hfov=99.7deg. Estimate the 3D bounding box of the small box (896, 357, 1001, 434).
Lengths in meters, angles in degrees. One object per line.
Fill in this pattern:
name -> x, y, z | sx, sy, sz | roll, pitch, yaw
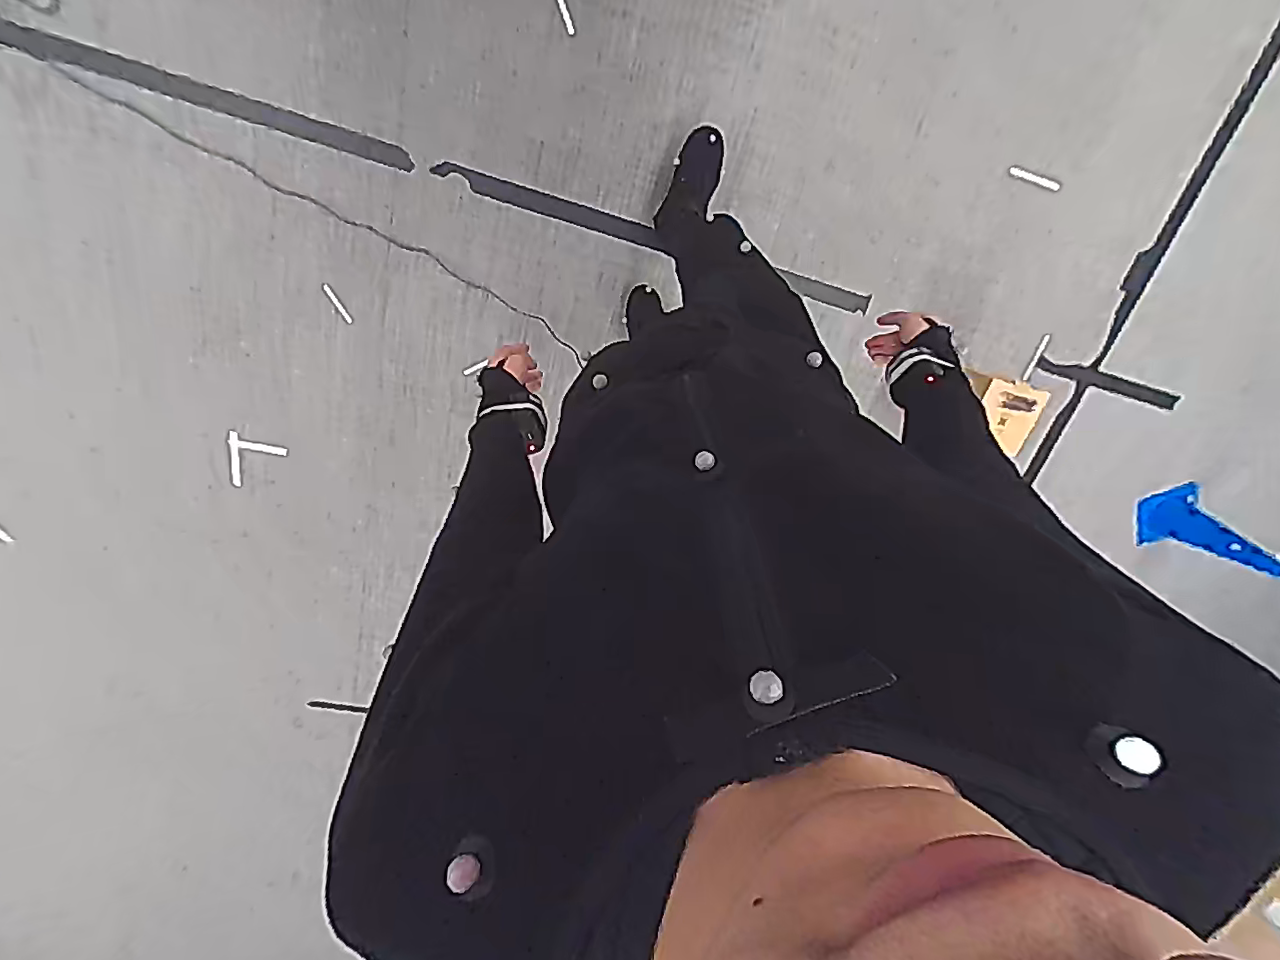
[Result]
small box -> 0.876, -0.249, 1.556 | 0.179, 0.176, 0.168 | 9, 113, -8
